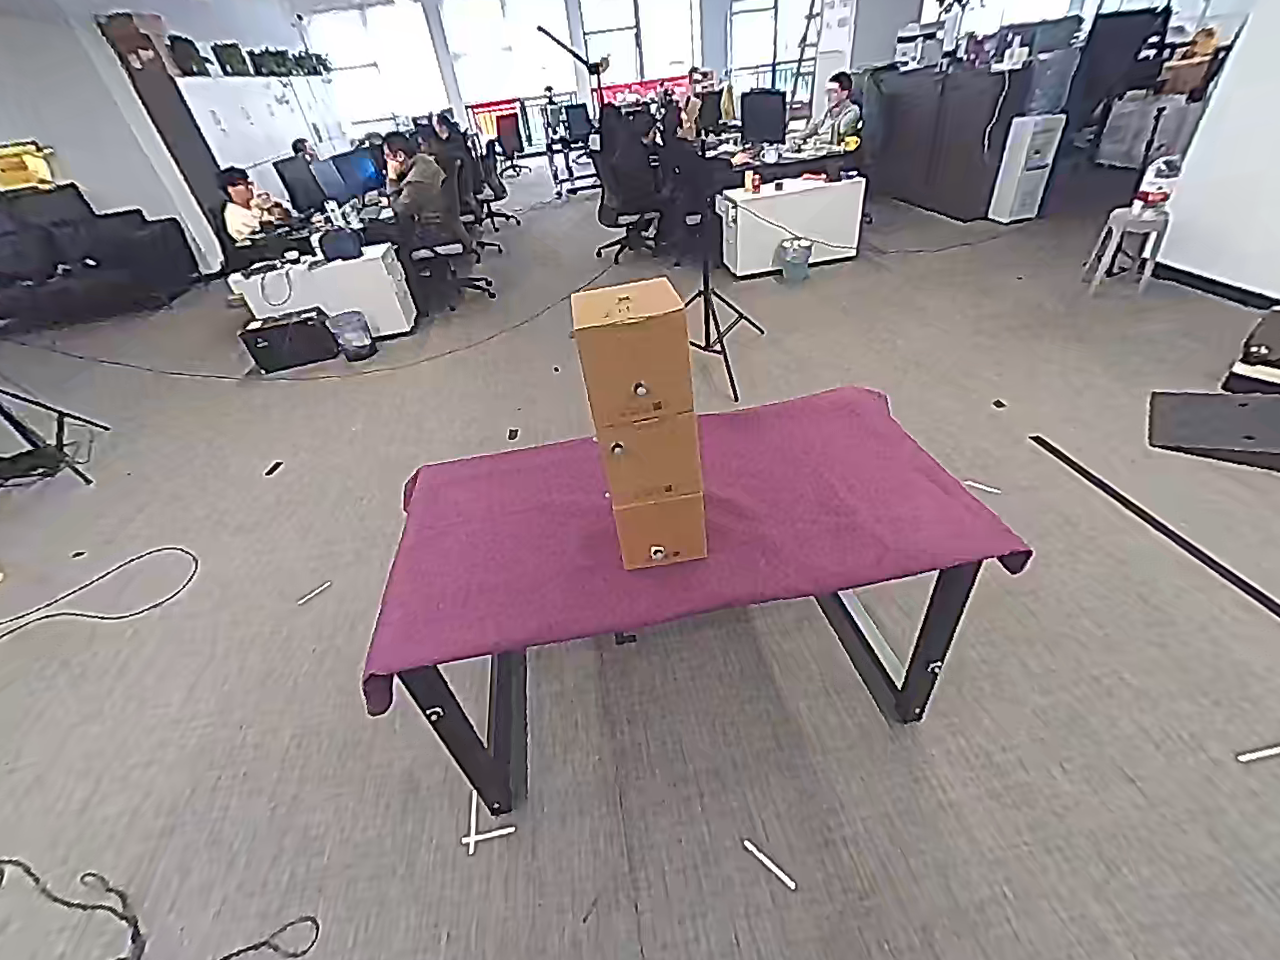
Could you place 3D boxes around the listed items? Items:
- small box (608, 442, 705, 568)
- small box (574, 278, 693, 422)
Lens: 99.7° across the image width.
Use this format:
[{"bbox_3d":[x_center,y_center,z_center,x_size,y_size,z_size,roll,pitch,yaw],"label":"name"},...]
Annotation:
[{"bbox_3d":[0.032,0.049,1.084,0.168,0.176,0.179,-10,38,-1],"label":"small box"},{"bbox_3d":[-0.012,-0.216,0.892,0.168,0.176,0.179,-11,36,-1],"label":"small box"}]
